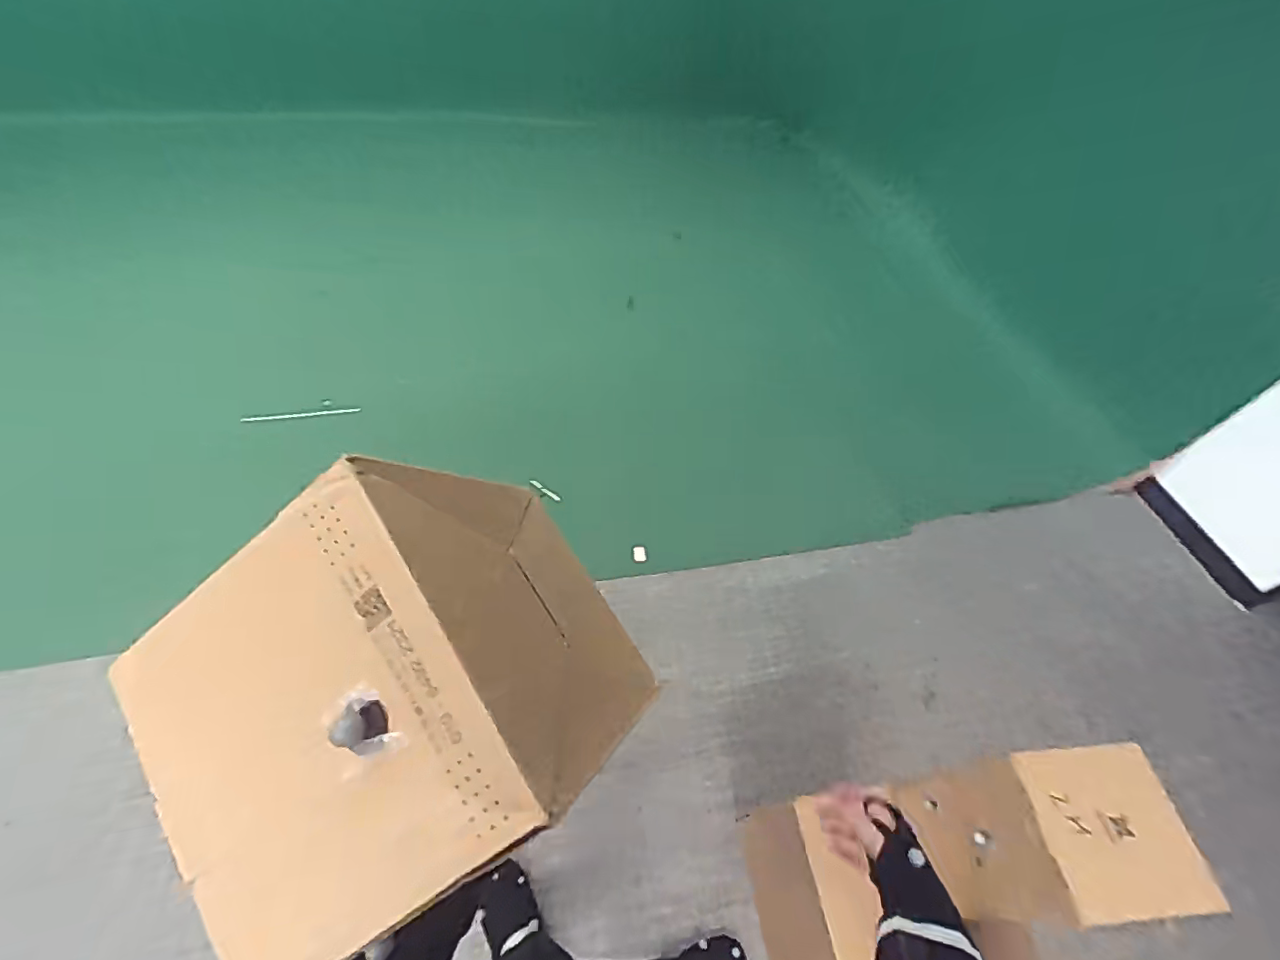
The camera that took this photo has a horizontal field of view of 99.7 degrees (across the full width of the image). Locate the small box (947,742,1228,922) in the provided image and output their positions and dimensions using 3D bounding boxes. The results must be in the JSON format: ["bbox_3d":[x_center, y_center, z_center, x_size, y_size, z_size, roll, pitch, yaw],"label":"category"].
[{"bbox_3d":[0.535,0.438,0.680,0.179,0.176,0.168,-2,53,-5],"label":"small box"}]
